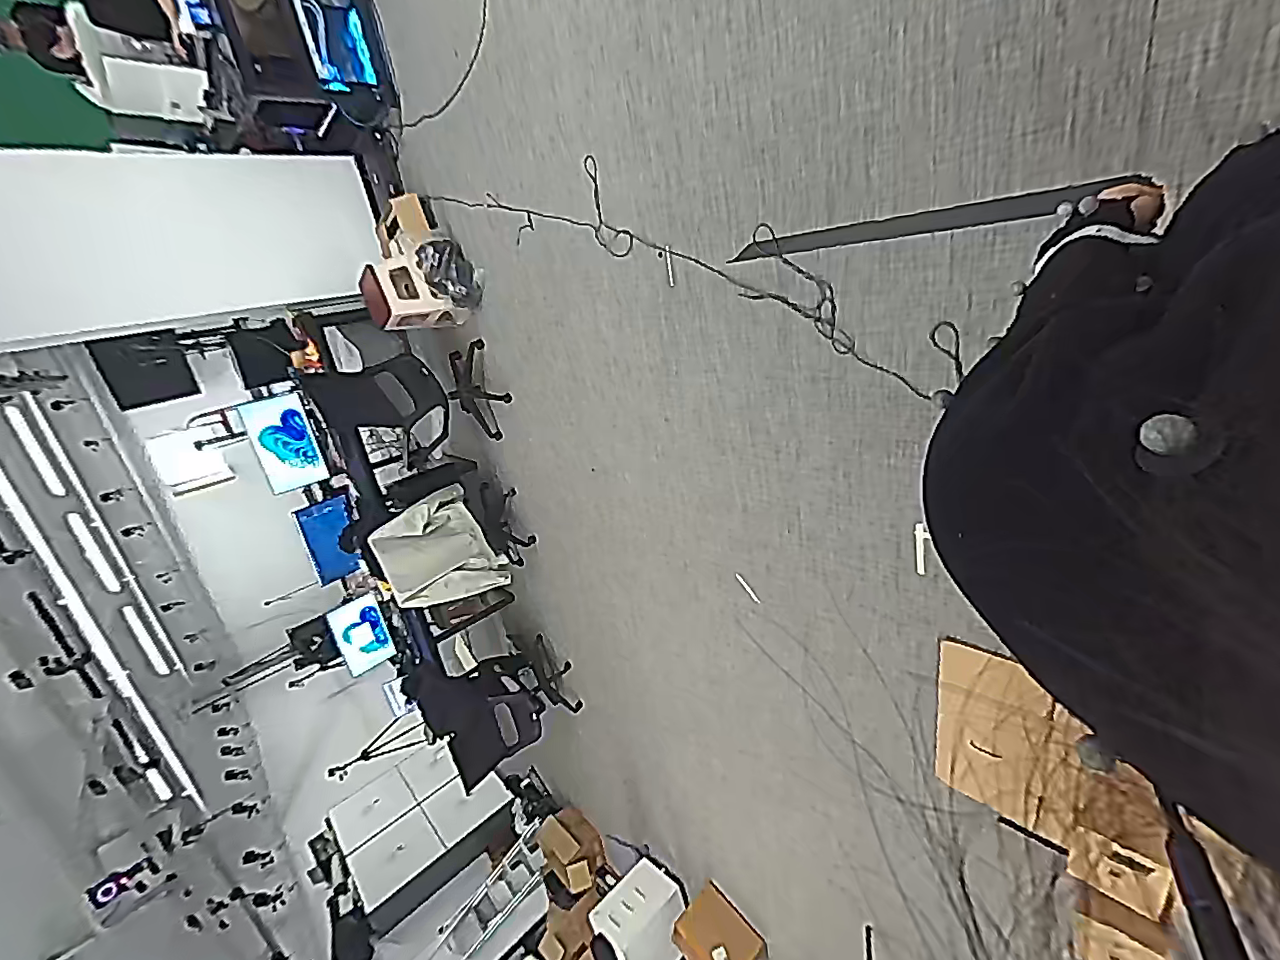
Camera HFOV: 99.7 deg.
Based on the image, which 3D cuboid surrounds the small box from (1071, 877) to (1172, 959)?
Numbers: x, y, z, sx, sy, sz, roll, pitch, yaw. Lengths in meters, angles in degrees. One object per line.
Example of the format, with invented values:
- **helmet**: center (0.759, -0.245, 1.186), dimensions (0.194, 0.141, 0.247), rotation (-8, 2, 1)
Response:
- **small box**: center (1.178, 1.088, 1.323), dimensions (0.168, 0.176, 0.179), rotation (6, 115, 48)

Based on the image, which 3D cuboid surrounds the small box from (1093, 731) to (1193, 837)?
- **small box**: center (1.237, 0.766, 1.338), dimensions (0.168, 0.176, 0.179), rotation (11, 120, 48)

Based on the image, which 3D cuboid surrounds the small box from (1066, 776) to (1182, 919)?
- **small box**: center (1.117, 0.835, 1.248), dimensions (0.168, 0.176, 0.179), rotation (15, 123, 46)
